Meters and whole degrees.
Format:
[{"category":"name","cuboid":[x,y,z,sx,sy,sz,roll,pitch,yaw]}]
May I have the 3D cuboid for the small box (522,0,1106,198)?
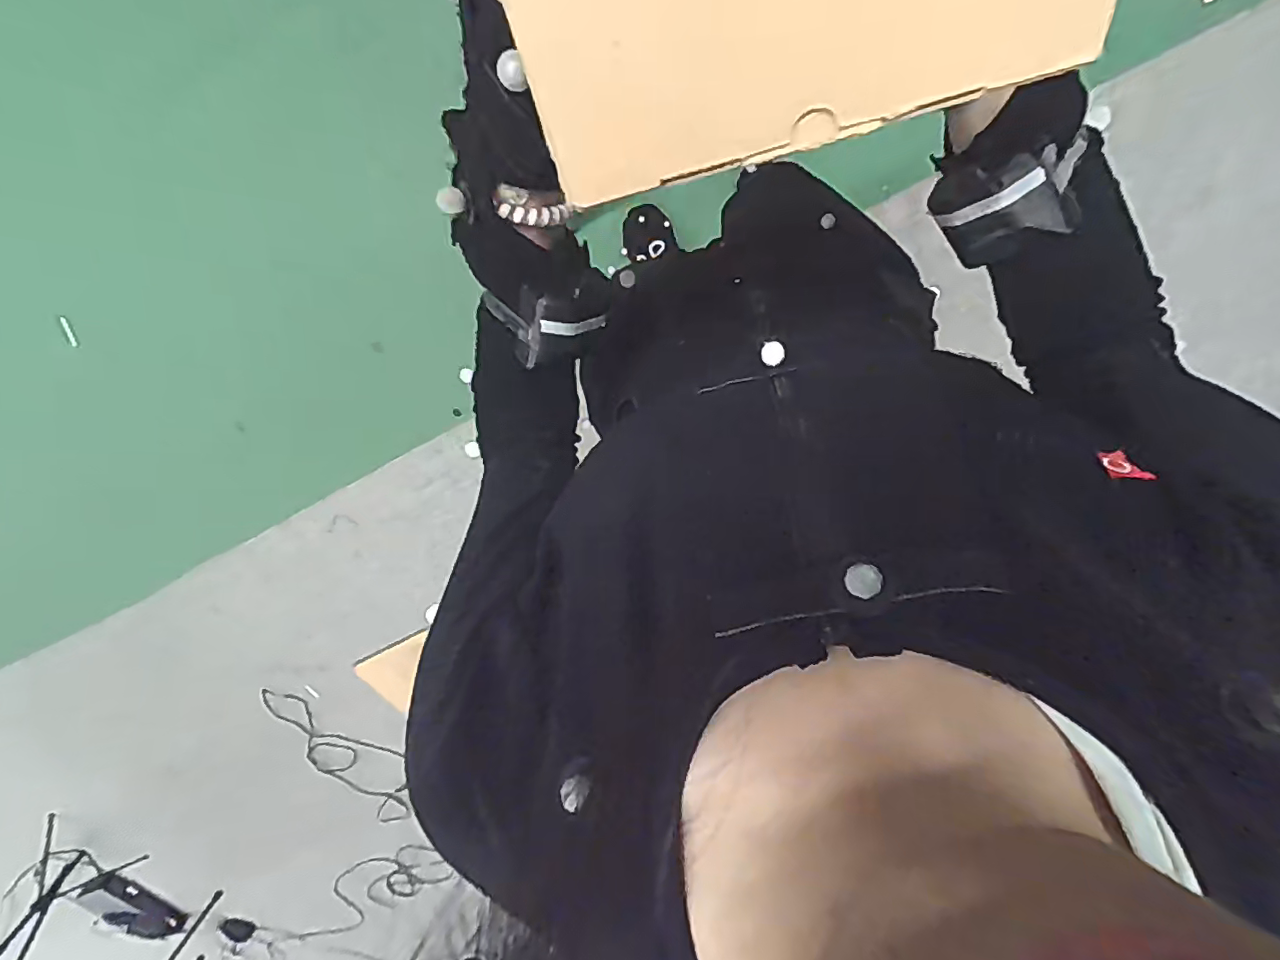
[{"category":"small box","cuboid":[0.036,-0.229,0.172,0.168,0.176,0.179,-10,138,11]}]
